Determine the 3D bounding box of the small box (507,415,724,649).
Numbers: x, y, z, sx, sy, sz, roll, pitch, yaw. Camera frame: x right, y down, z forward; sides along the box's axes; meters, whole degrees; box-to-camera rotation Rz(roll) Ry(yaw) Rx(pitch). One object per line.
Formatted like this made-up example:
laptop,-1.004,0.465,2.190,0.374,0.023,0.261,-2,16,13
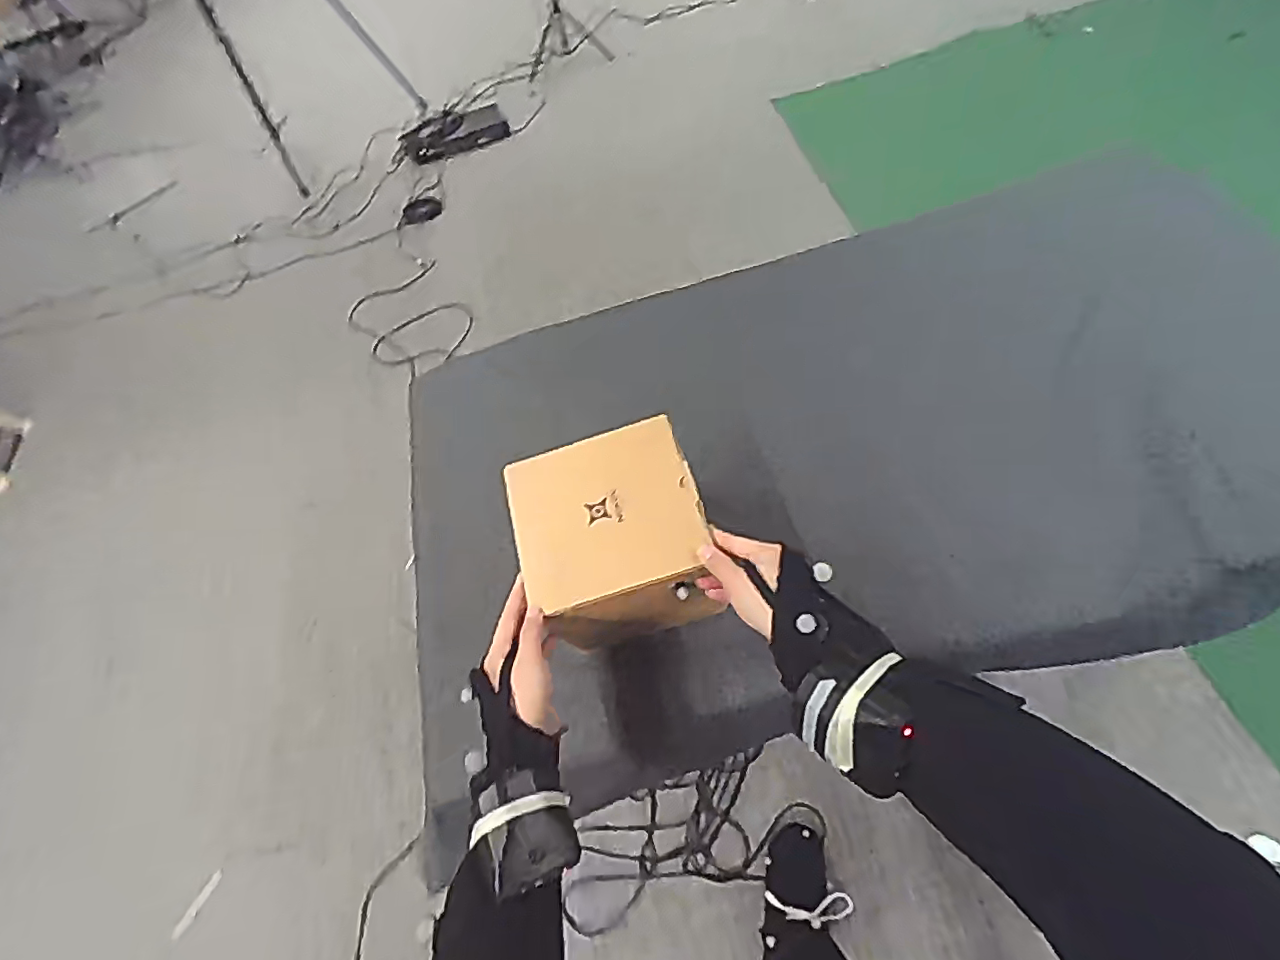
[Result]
small box,-0.020,0.065,0.576,0.179,0.176,0.168,-18,60,1
